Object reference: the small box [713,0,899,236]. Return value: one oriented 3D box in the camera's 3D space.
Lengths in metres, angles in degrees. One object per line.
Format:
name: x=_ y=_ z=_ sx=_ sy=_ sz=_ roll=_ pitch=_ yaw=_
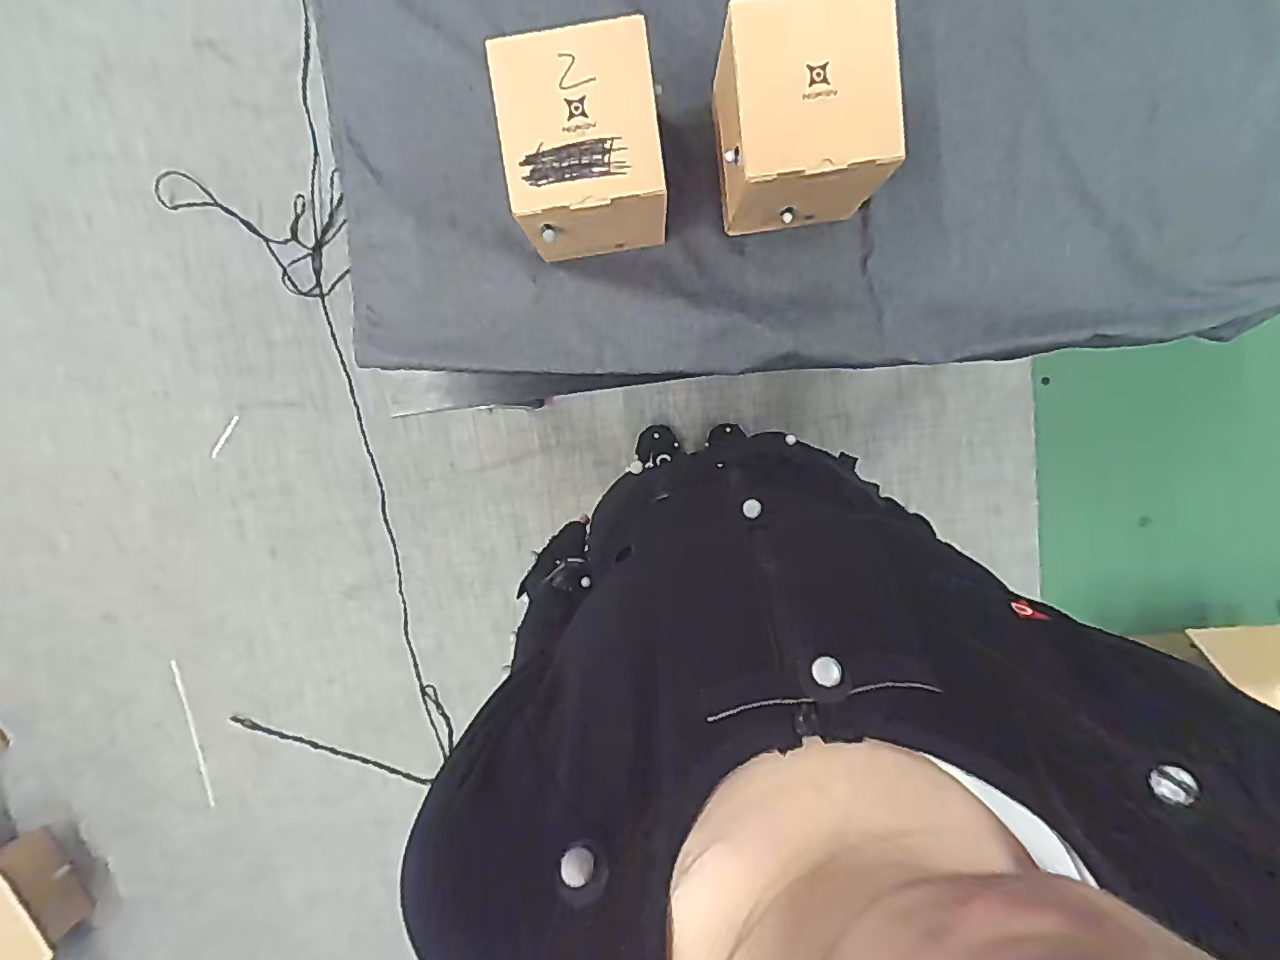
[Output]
small box: x=0.184 y=-0.416 z=0.643 sx=0.168 sy=0.176 sz=0.179 roll=-7 pitch=97 yaw=2
